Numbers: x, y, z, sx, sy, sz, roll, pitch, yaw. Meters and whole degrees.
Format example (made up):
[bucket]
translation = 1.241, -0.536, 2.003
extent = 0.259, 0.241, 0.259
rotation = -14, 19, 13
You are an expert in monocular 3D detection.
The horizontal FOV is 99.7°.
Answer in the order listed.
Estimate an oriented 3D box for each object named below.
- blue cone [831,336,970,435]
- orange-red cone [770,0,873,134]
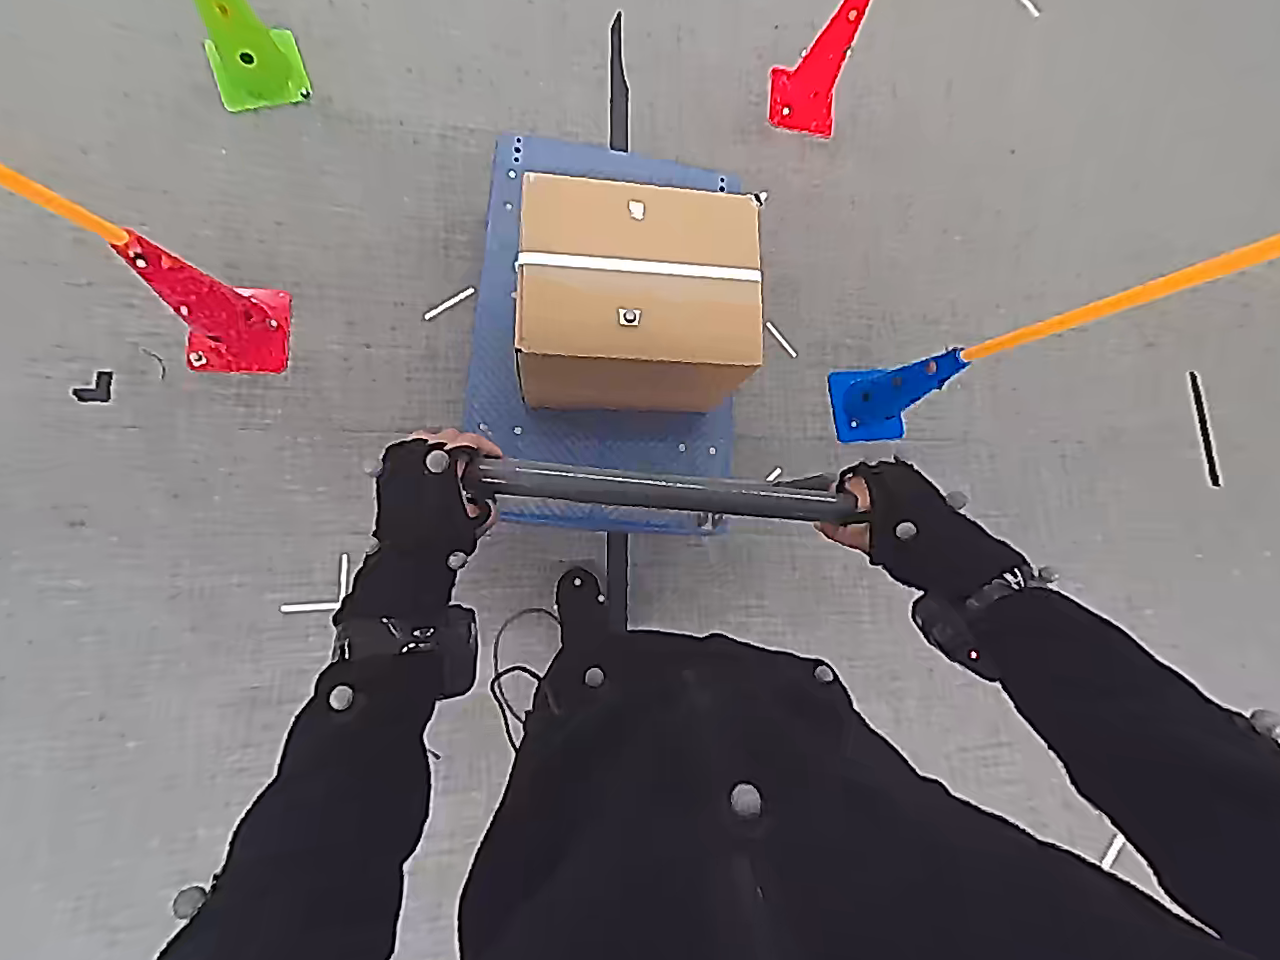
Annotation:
[blue cone]
translation = 0.647, -0.244, 1.309
extent = 0.193, 0.380, 0.192
rotation = -3, 81, -11
[orange-red cone]
translation = 0.511, -1.139, 1.411
extent = 0.199, 0.360, 0.198
rotation = 7, 81, -10
